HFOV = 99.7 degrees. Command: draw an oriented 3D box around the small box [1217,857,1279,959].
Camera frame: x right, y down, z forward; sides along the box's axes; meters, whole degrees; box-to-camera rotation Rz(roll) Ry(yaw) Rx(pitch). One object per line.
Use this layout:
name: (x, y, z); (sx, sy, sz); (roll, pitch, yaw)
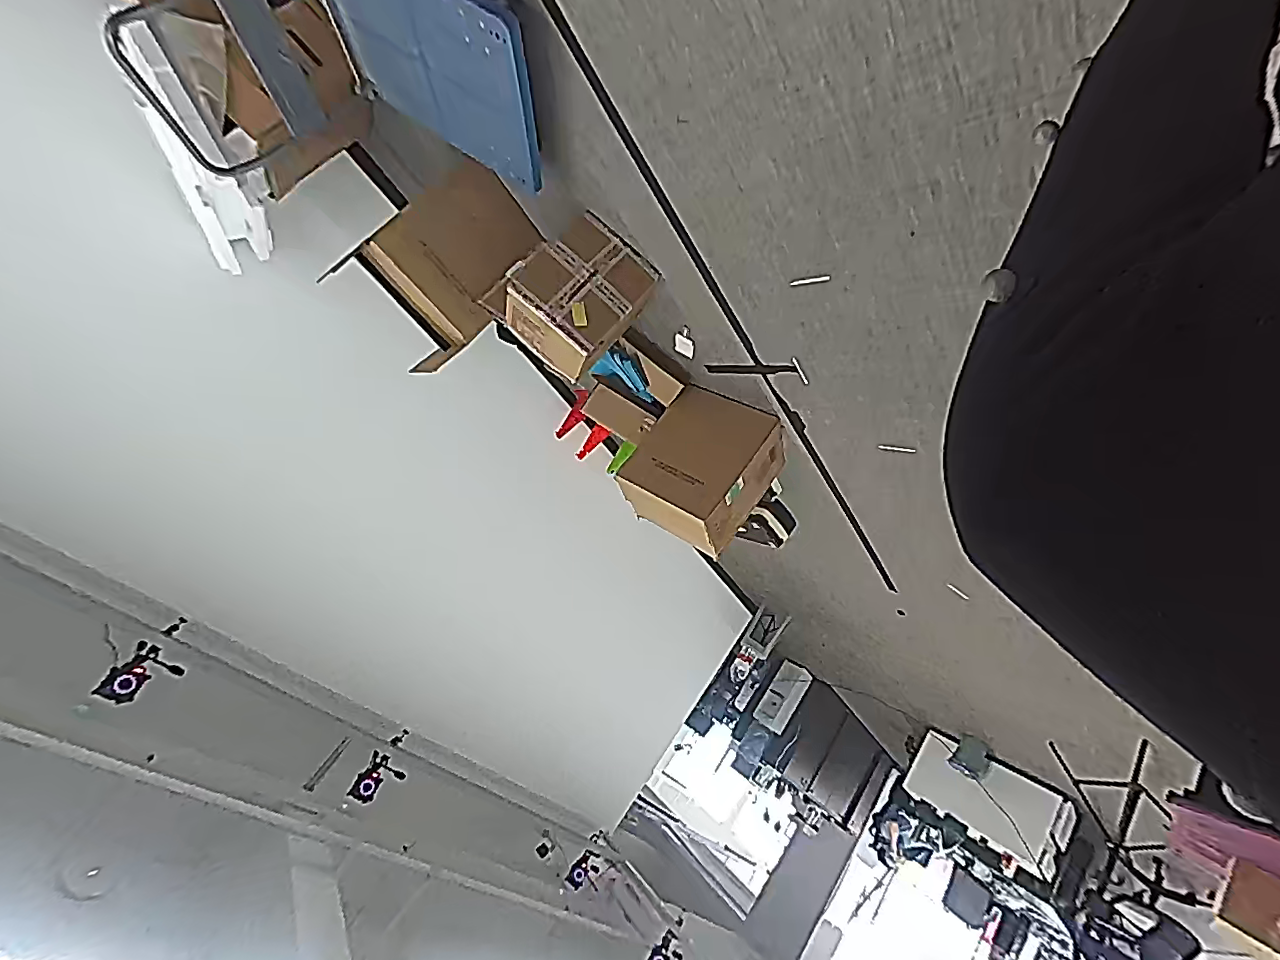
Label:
small box: (1.601, 1.092, 1.349); (0.179, 0.176, 0.168); (21, 155, 48)
